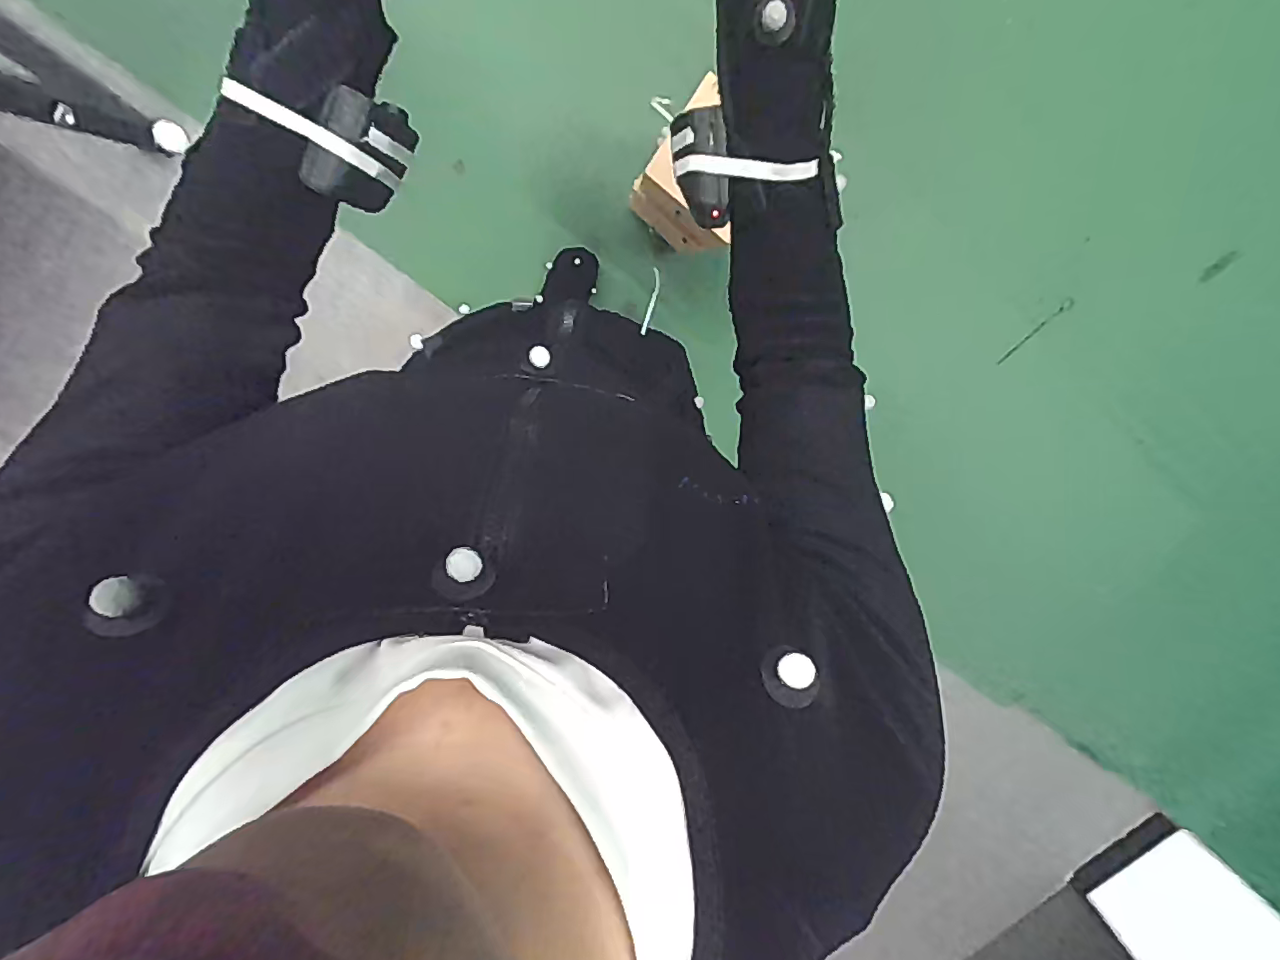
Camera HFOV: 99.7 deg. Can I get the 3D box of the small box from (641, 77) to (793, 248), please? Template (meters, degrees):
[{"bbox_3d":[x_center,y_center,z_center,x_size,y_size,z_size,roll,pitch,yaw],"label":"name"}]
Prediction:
[{"bbox_3d":[0.118,-0.515,0.907,0.179,0.176,0.168,35,105,-14],"label":"small box"}]

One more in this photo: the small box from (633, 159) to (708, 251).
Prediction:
[{"bbox_3d":[0.099,-0.570,1.061,0.179,0.176,0.168,36,105,-15],"label":"small box"}]
